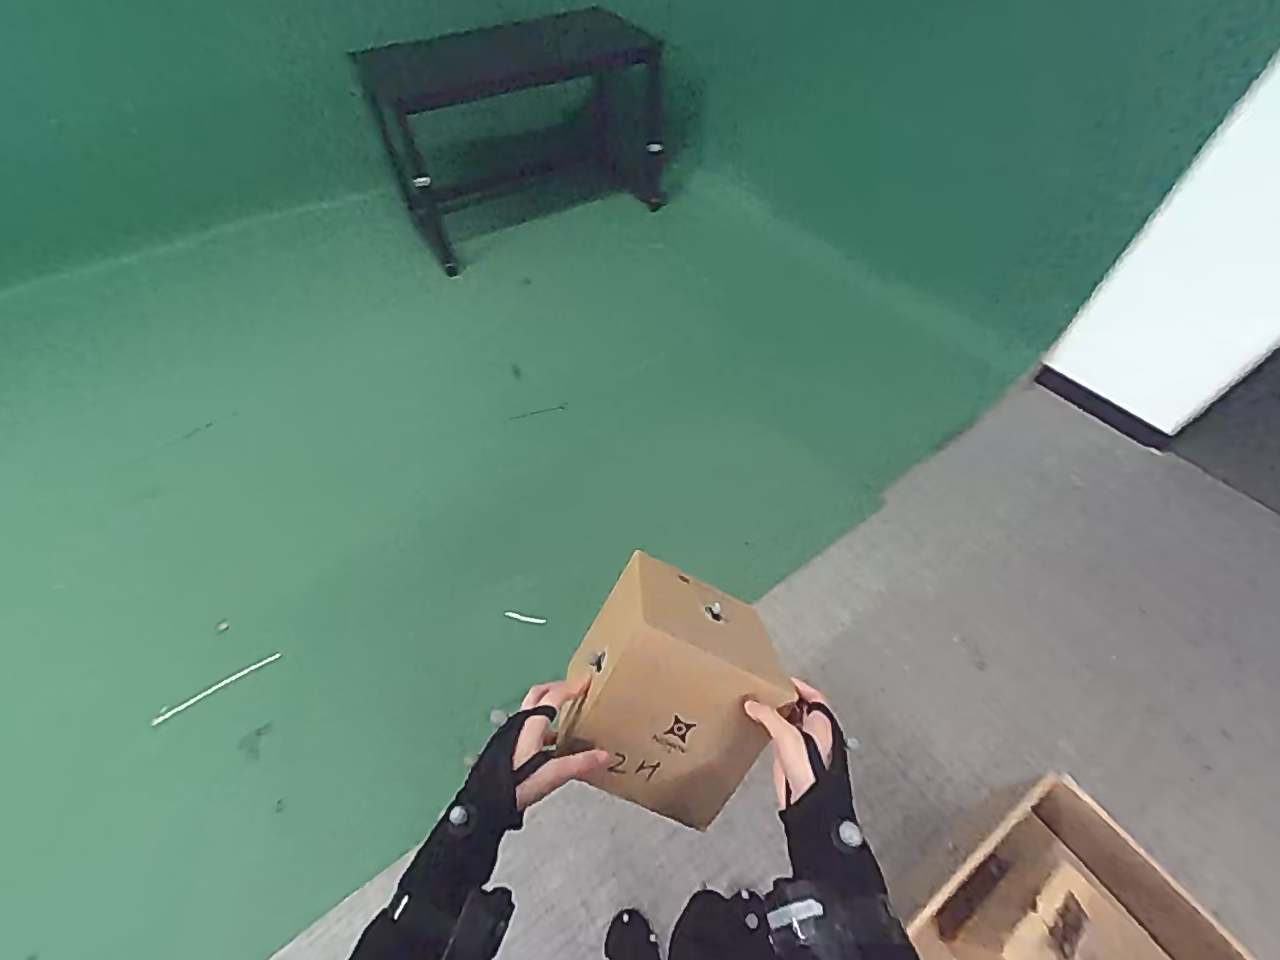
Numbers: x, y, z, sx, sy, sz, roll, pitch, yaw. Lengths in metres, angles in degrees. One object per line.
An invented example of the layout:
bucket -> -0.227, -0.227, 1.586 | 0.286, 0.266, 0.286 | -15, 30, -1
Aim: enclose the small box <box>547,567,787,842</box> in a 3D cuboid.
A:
small box -> 0.019, 0.219, 0.568 | 0.168, 0.179, 0.176 | 27, 12, -9
